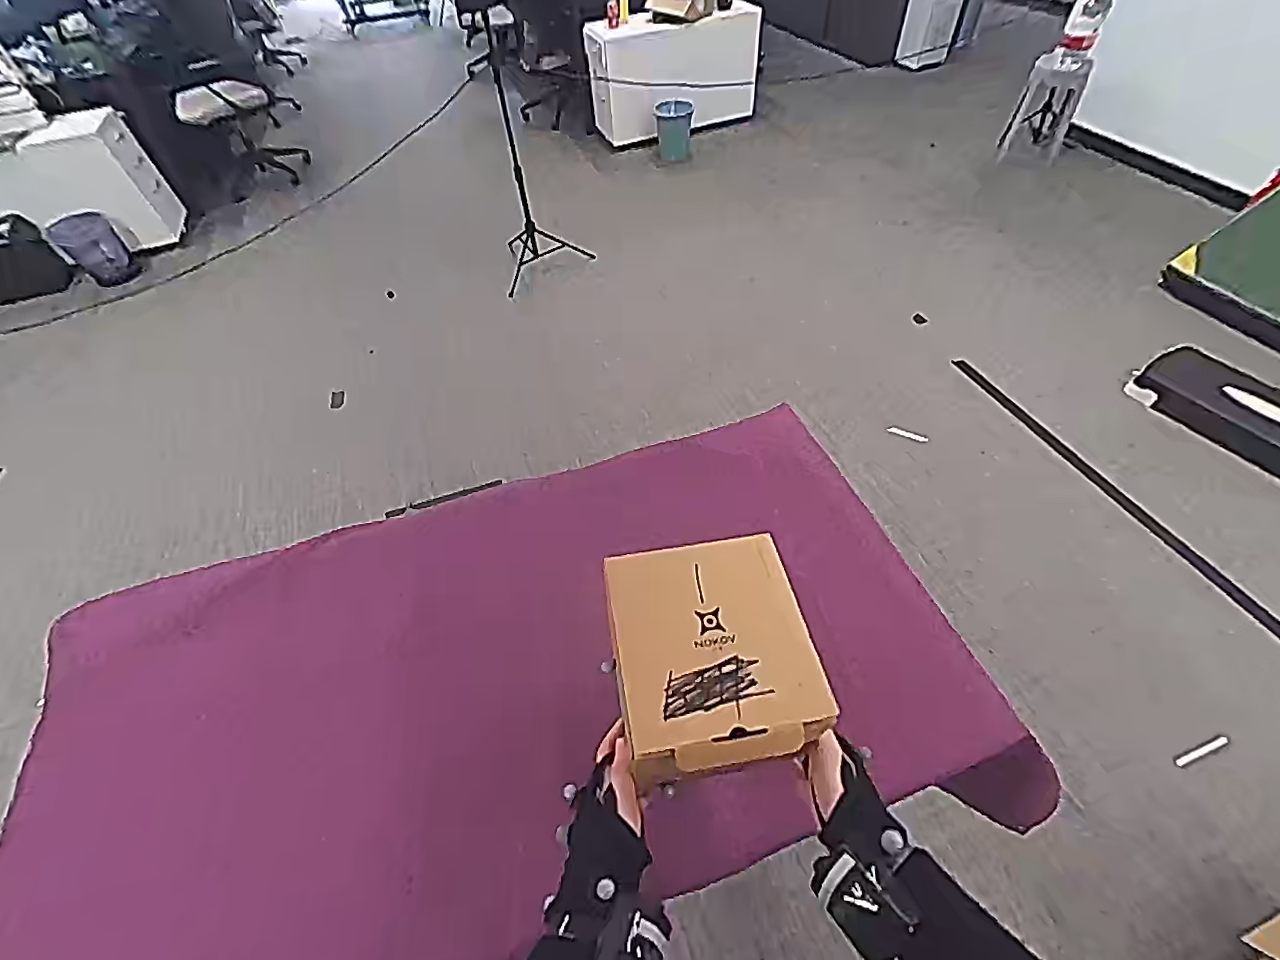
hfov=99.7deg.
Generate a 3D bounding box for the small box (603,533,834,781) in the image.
[{"bbox_3d":[0.060,0.177,0.524,0.168,0.176,0.179,-8,52,-6],"label":"small box"}]
